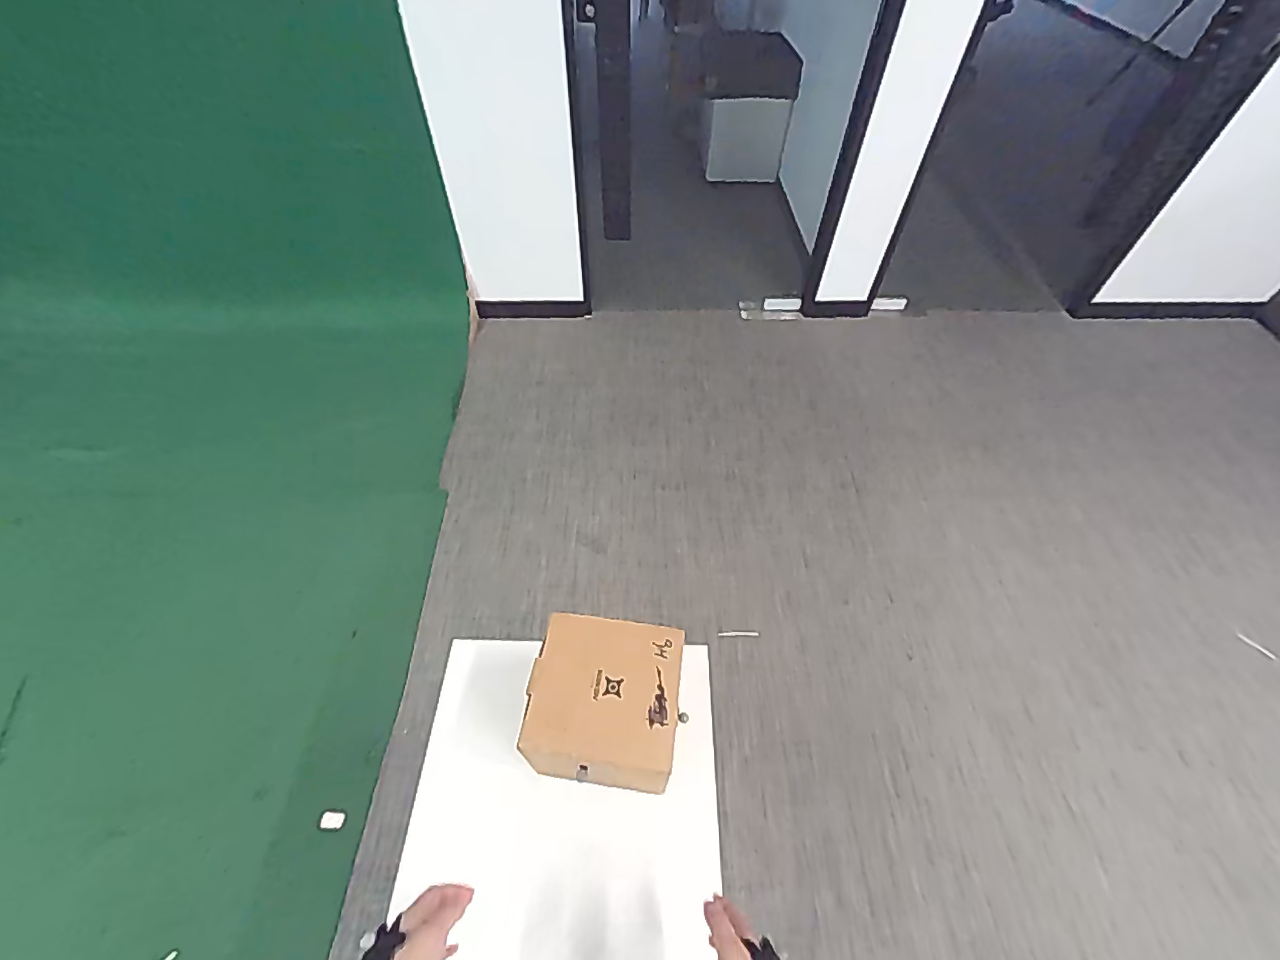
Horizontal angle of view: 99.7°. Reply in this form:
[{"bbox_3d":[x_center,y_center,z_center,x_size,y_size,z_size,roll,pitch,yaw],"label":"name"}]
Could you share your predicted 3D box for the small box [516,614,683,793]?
[{"bbox_3d":[-0.042,0.293,0.703,0.179,0.176,0.168,6,52,5],"label":"small box"}]
